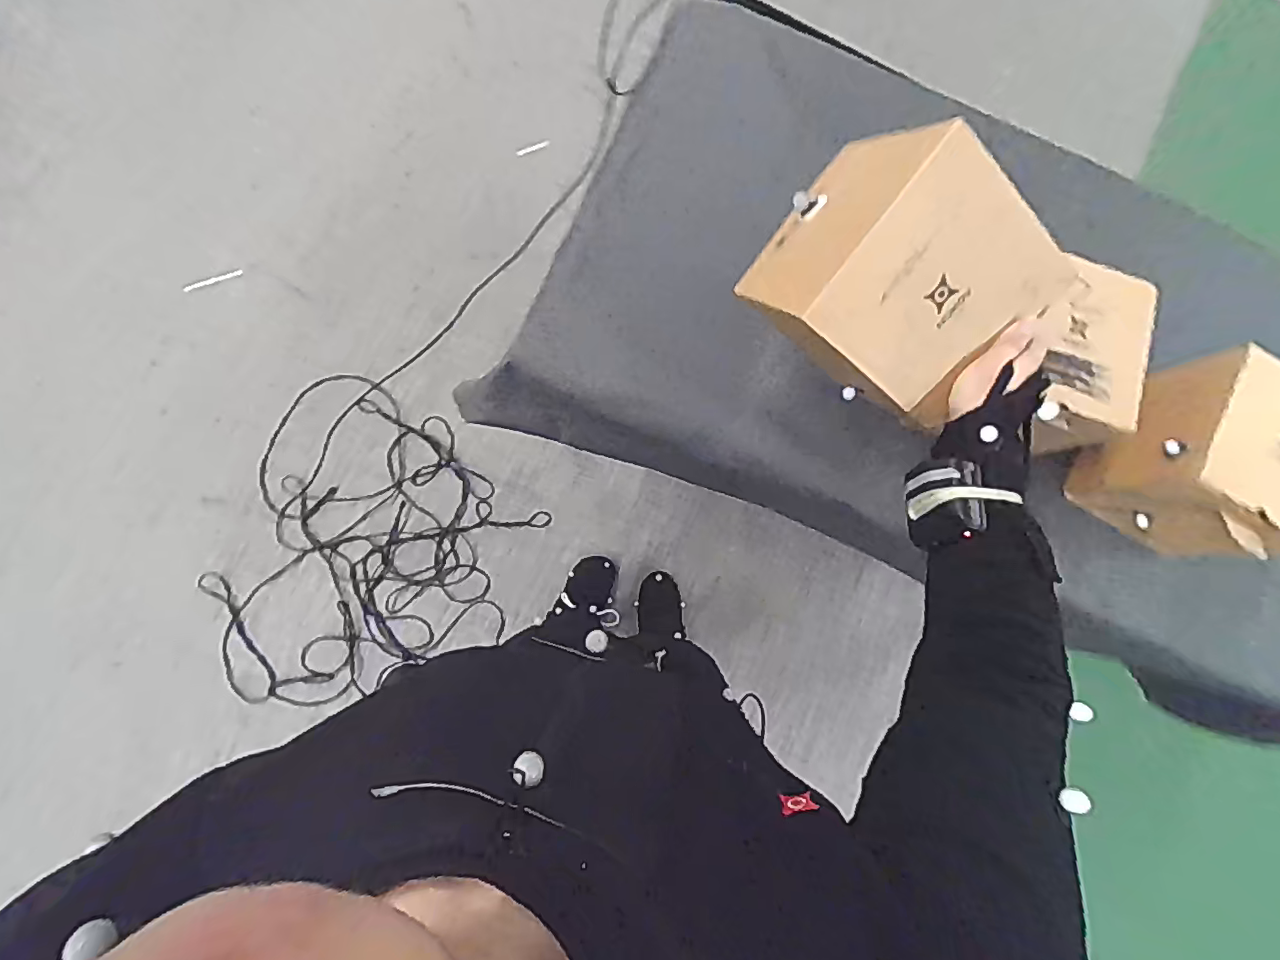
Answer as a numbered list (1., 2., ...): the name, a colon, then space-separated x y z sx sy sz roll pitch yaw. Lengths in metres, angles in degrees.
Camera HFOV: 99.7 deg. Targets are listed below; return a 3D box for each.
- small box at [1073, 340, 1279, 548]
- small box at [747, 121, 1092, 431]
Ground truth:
1. small box: 0.689 -0.032 0.660 0.168 0.176 0.179 30 82 -2
2. small box: 0.229 -0.178 0.484 0.179 0.176 0.168 30 108 -23
